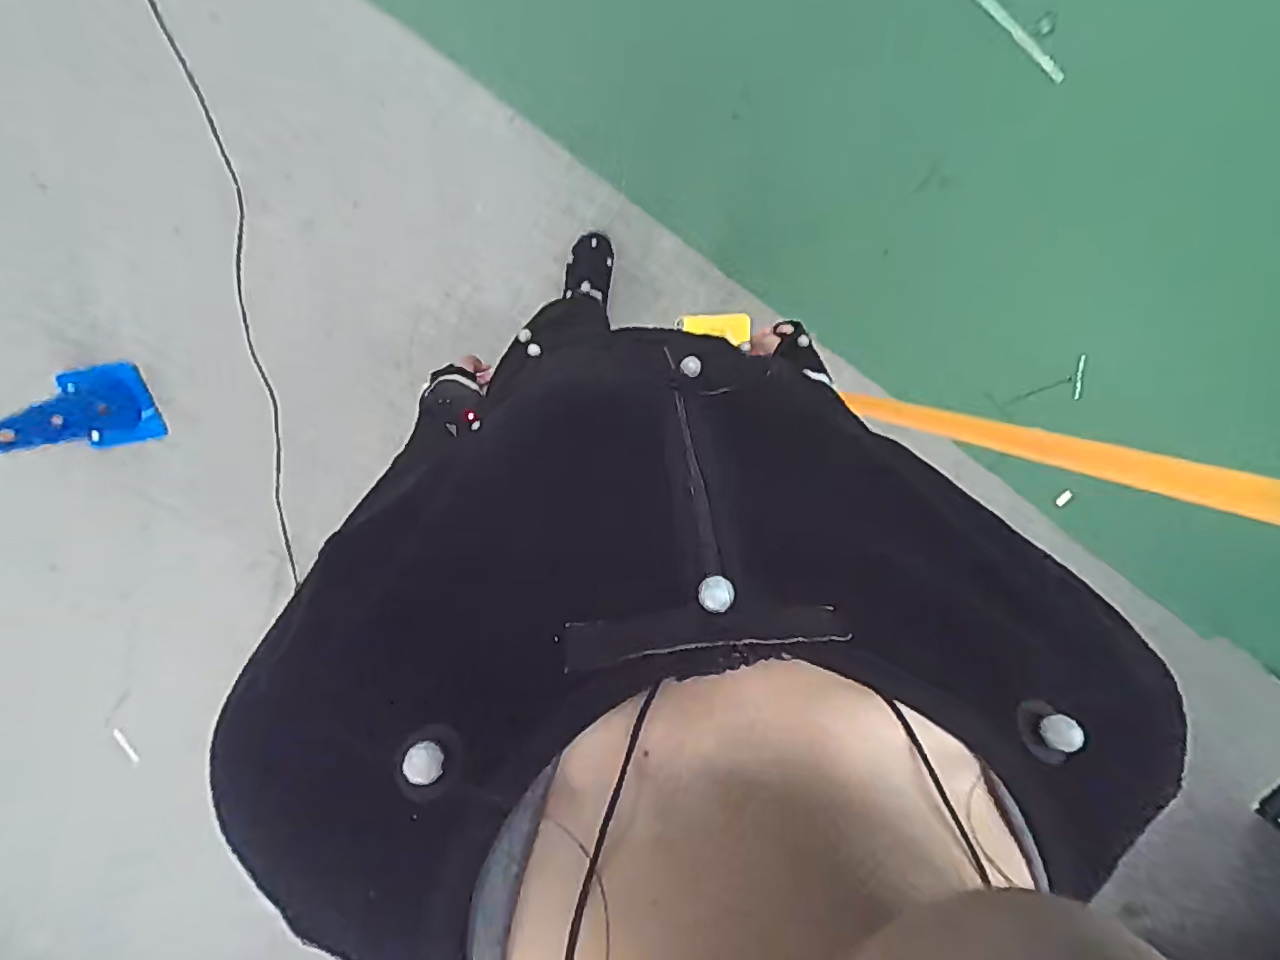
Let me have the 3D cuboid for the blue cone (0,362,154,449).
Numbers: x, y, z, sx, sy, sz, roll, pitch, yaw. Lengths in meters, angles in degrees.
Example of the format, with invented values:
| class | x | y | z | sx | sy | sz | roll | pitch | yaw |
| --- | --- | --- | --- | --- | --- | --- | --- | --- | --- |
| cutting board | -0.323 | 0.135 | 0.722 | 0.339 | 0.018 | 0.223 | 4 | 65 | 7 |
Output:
| class | x | y | z | sx | sy | sz | roll | pitch | yaw |
| --- | --- | --- | --- | --- | --- | --- | --- | --- | --- |
| blue cone | -1.318 | -0.121 | 1.188 | 0.193 | 0.380 | 0.192 | -11 | 113 | 2 |
